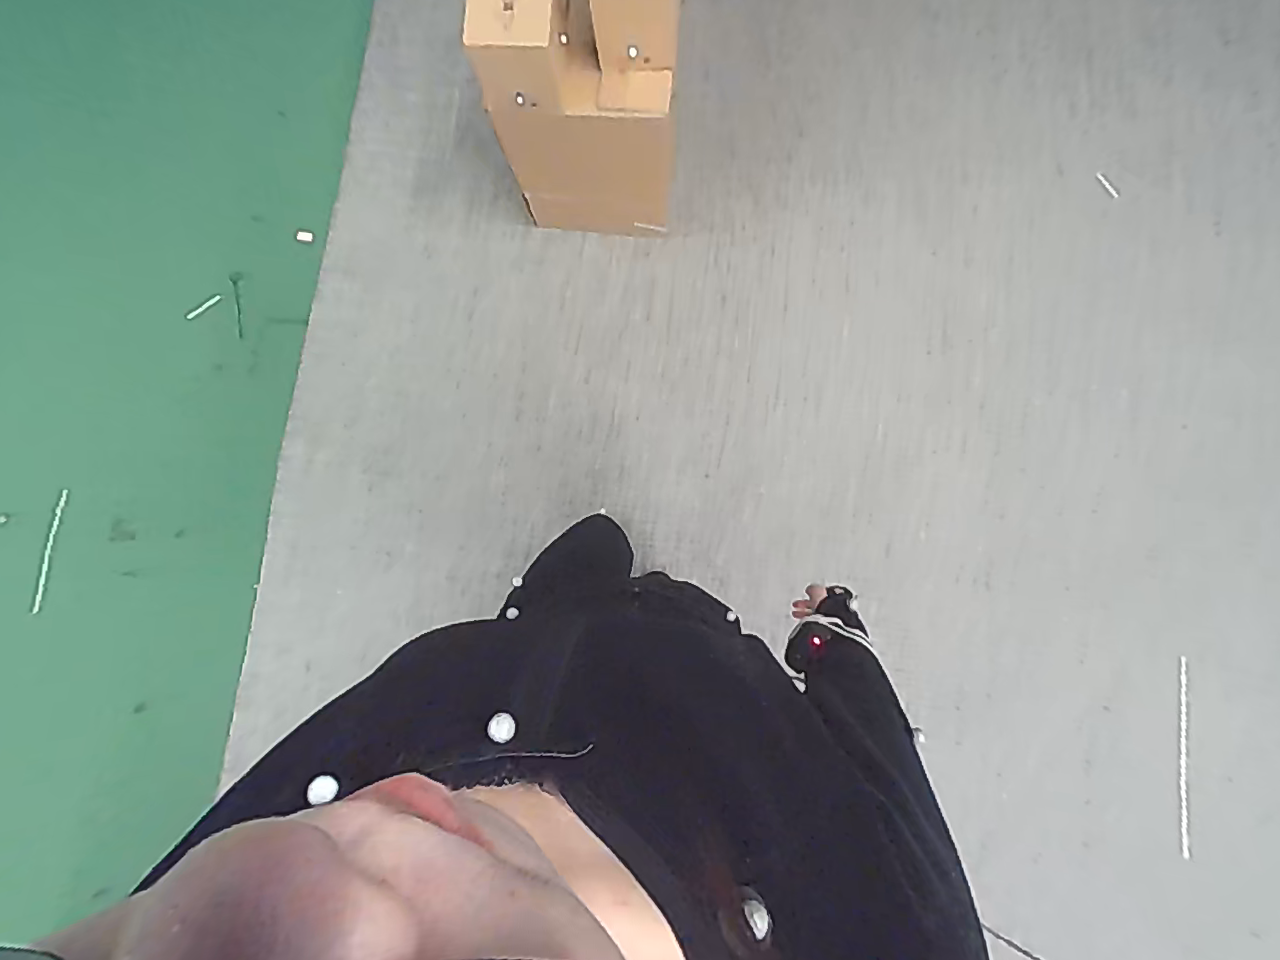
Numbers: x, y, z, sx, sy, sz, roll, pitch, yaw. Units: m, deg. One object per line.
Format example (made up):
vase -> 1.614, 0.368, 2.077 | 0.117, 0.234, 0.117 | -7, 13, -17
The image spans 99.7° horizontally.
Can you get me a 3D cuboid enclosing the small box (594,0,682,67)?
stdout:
small box -> -0.001, -0.992, 1.099 | 0.168, 0.176, 0.179 | 3, 85, 5
